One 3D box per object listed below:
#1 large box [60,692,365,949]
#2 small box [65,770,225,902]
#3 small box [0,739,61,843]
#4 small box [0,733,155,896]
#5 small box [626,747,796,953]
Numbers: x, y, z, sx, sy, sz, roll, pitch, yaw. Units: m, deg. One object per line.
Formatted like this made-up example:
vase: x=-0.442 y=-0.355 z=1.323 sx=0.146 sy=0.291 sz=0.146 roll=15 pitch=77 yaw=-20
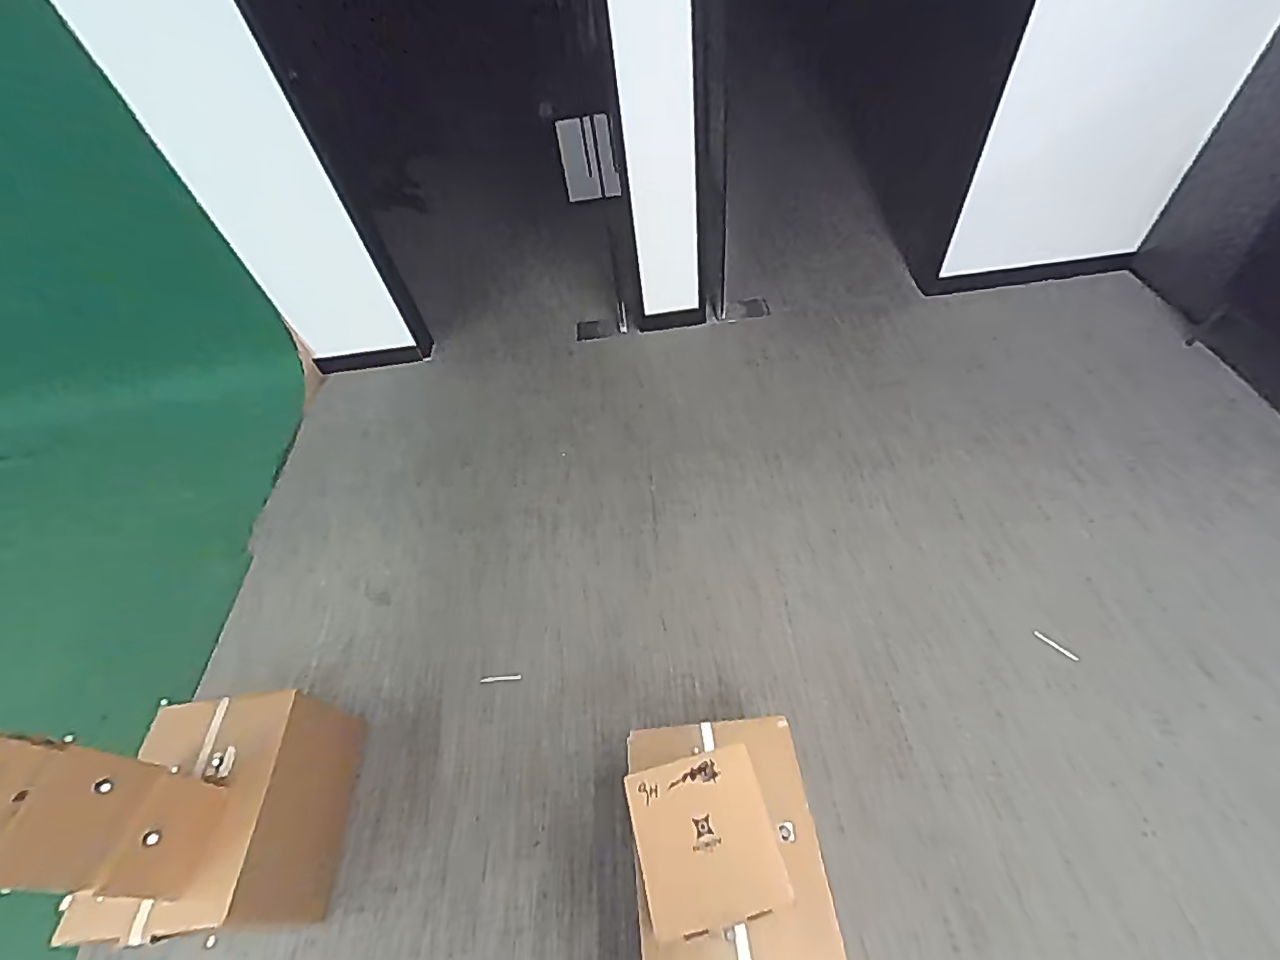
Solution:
large box: x=-0.854 y=0.726 z=1.164 sx=0.320 sy=0.320 sz=0.408 roll=-8 pitch=50 yaw=2
small box: x=-0.883 y=0.616 z=0.943 sx=0.168 sy=0.176 sz=0.179 roll=1 pitch=52 yaw=9
small box: x=-0.936 y=0.412 z=0.693 sx=0.179 sy=0.176 sz=0.168 roll=4 pitch=52 yaw=12
small box: x=-0.907 y=0.509 z=0.823 sx=0.168 sy=0.176 sz=0.179 roll=3 pitch=53 yaw=12
small box: x=0.090 y=0.477 z=0.707 sx=0.168 sy=0.176 sz=0.179 roll=-15 pitch=52 yaw=-2
